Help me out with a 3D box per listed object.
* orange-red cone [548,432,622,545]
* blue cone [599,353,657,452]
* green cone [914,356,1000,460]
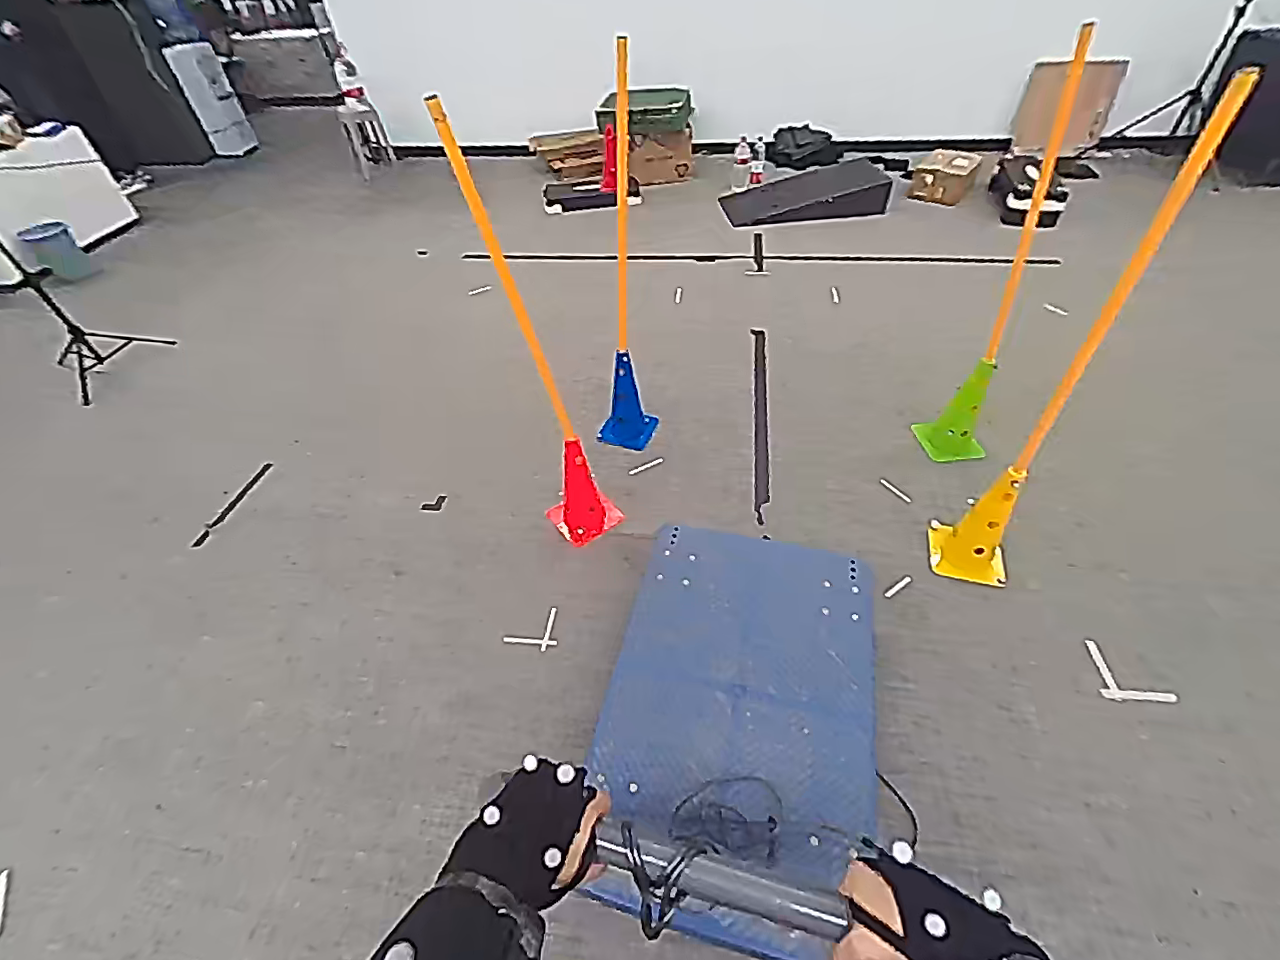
[{"bbox_3d":[-0.187,-0.003,1.675,0.199,0.360,0.198,-29,52,-24],"label":"orange-red cone"},{"bbox_3d":[-0.051,-0.301,1.974,0.193,0.380,0.192,15,50,17],"label":"blue cone"},{"bbox_3d":[1.124,-0.266,1.849,0.200,0.368,0.202,-6,47,-2],"label":"green cone"}]
